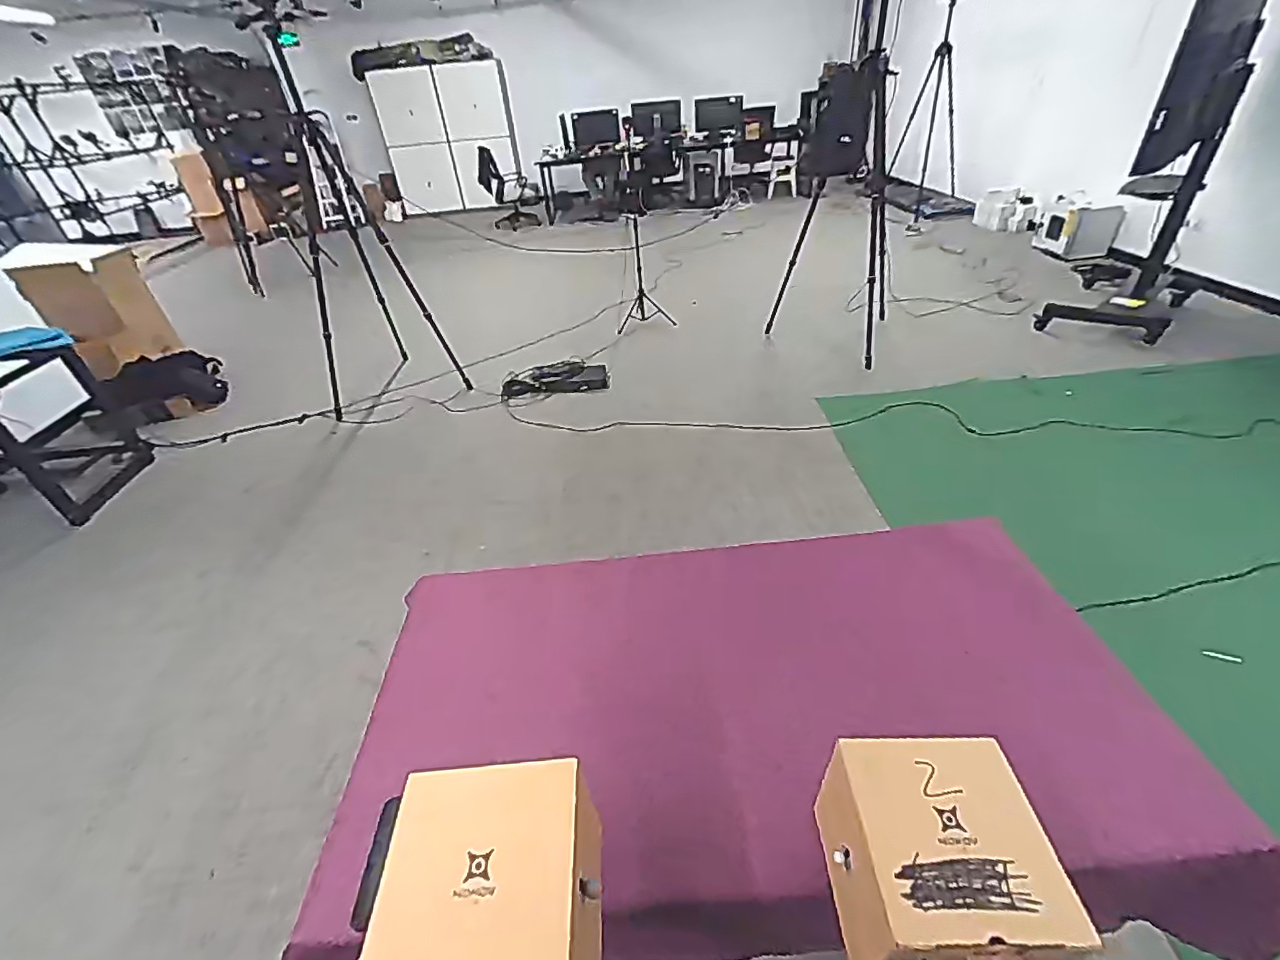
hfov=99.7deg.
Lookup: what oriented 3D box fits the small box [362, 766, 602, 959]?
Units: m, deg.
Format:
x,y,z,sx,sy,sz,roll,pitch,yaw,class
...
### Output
x,y,z,sx,sy,sz,roll,pitch,yaw,class
-0.127,0.394,0.499,0.168,0.176,0.179,-5,40,1,small box
